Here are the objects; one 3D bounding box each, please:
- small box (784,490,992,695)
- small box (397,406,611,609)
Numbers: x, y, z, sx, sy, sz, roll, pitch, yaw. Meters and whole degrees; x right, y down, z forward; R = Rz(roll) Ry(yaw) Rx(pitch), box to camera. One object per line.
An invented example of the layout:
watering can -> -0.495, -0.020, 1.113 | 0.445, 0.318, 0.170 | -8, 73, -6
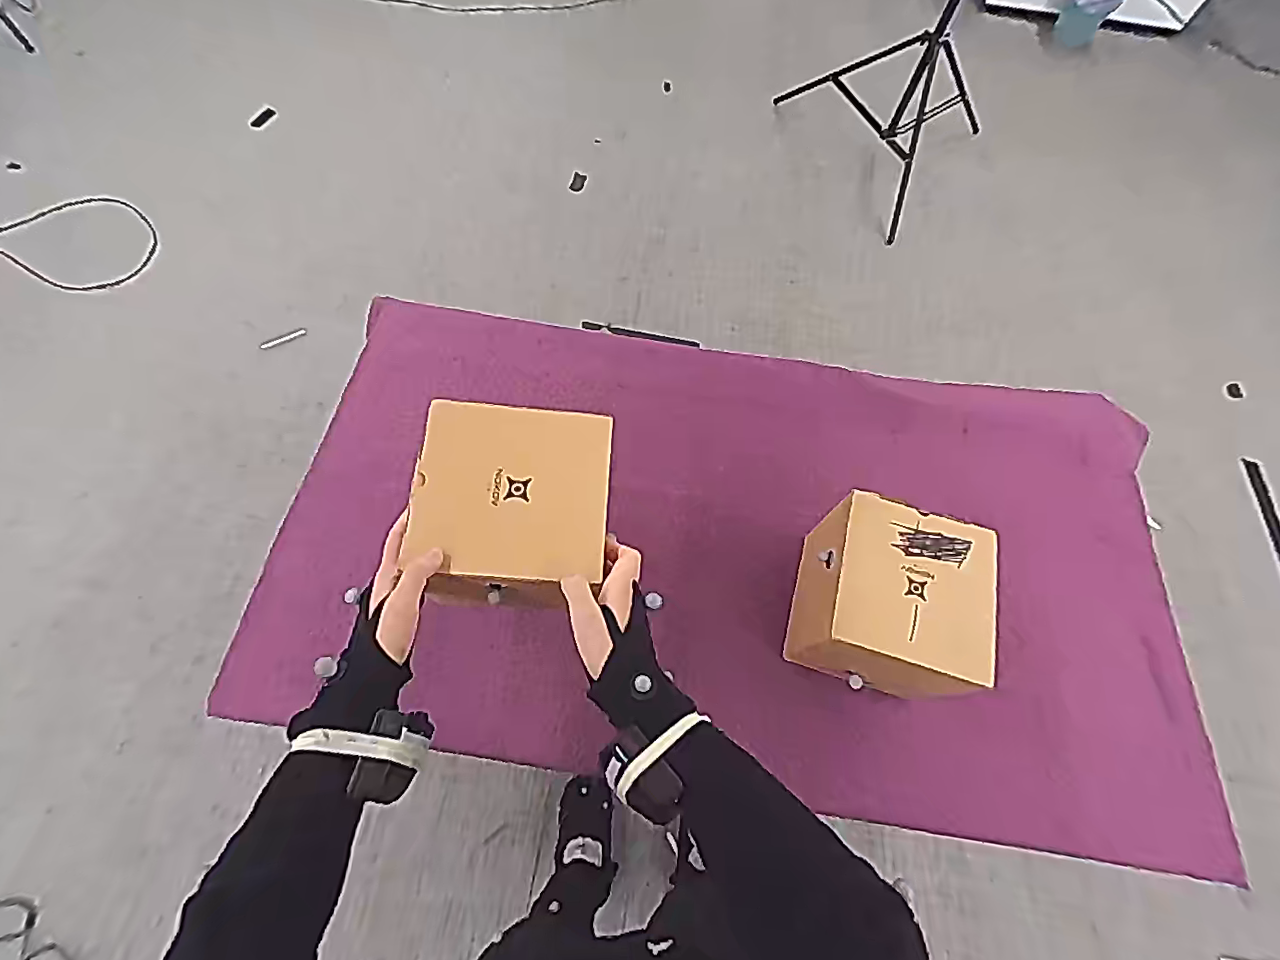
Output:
small box -> 0.285, 0.142, 0.648 | 0.168, 0.176, 0.179 | 17, 65, 5
small box -> -0.129, 0.041, 0.572 | 0.179, 0.176, 0.168 | 4, 68, -5
